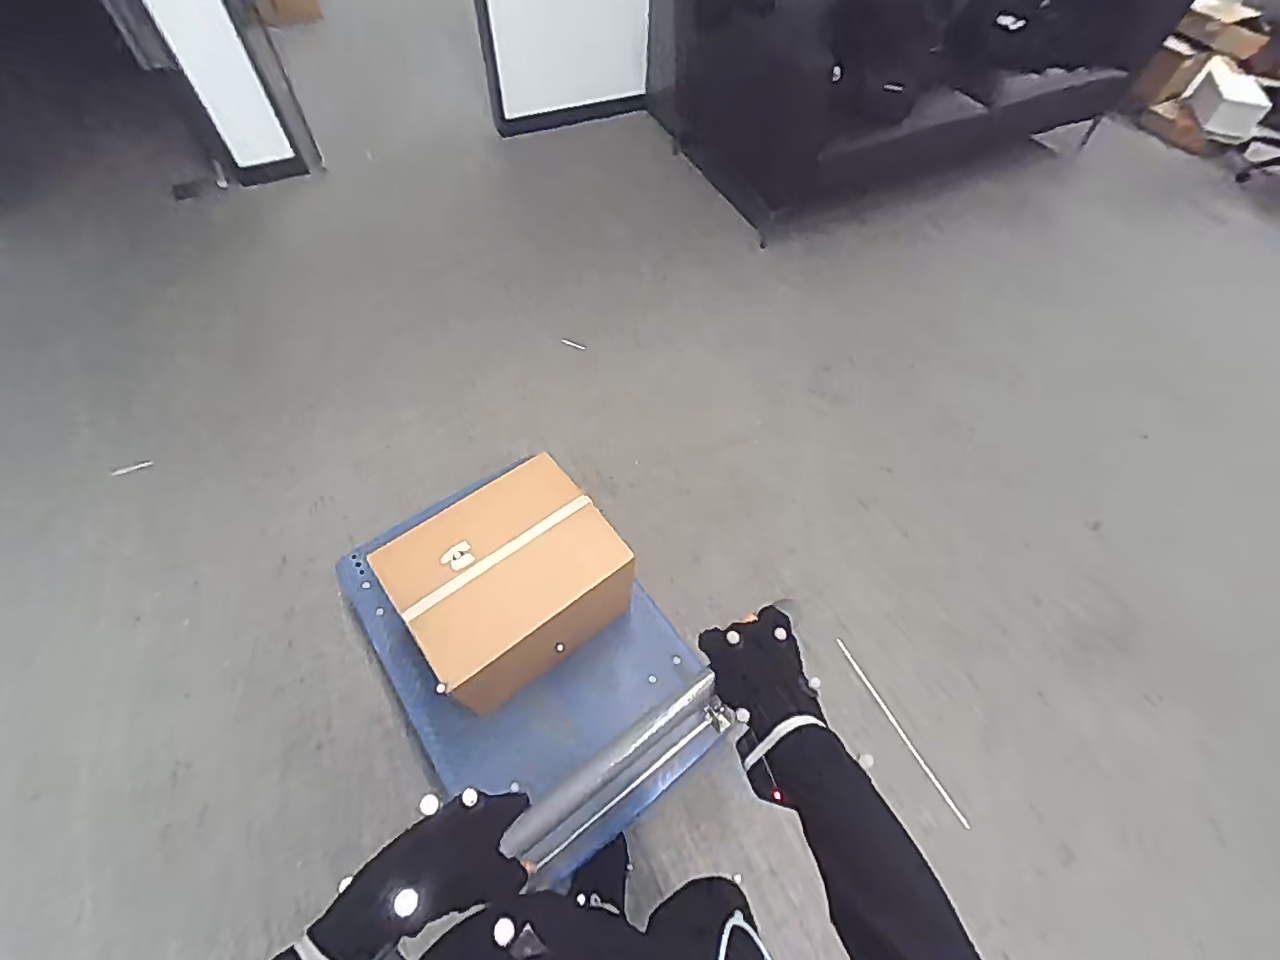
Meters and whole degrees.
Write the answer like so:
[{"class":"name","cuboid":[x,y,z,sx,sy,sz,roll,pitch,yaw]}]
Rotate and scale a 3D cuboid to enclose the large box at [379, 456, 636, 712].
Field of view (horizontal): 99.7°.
[{"class":"large box","cuboid":[-0.259,0.227,1.170,0.408,0.320,0.320,-35,66,-21]}]
